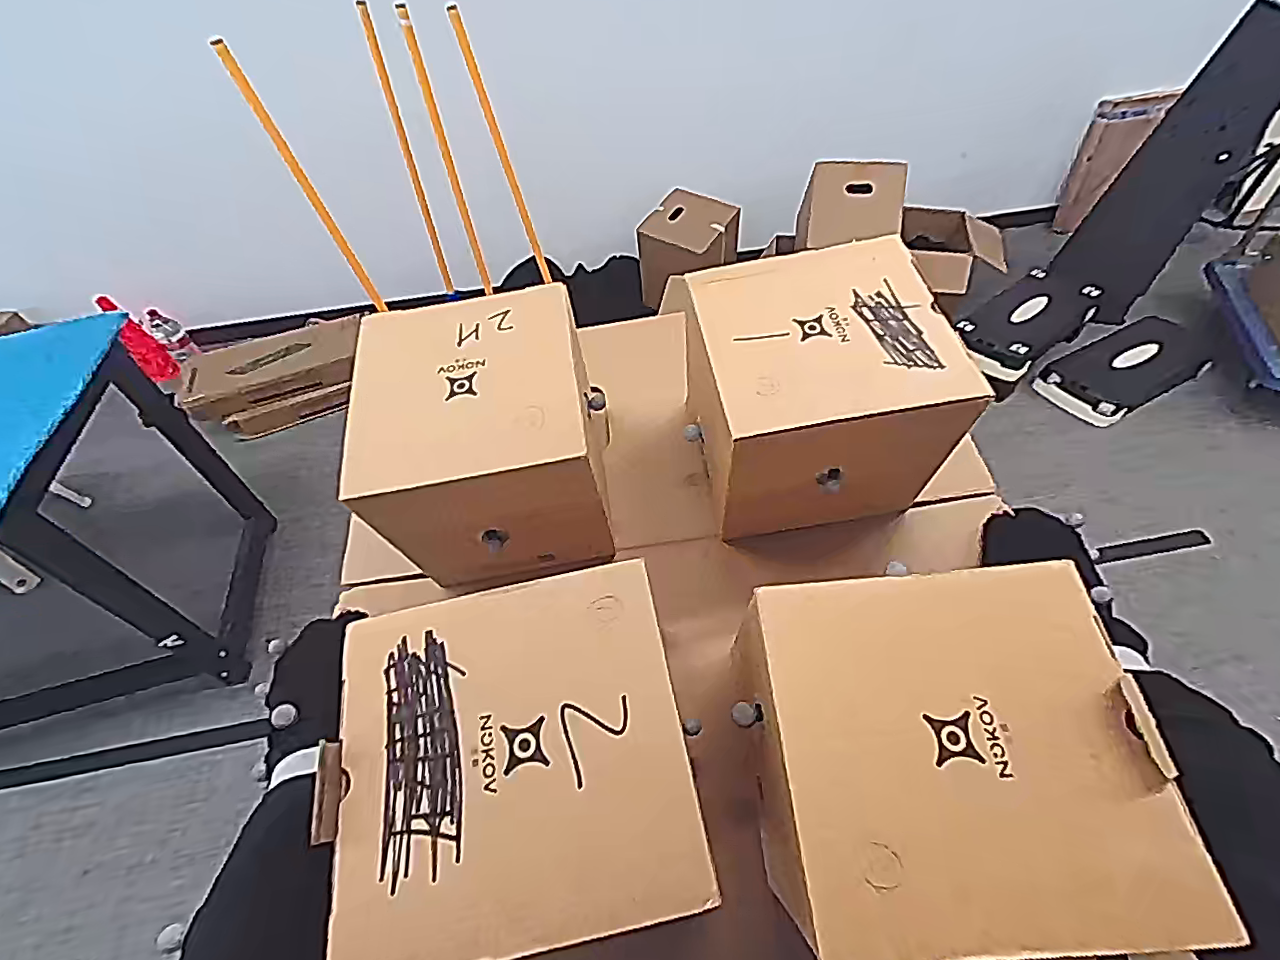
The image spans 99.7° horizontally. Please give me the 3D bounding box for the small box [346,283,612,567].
[{"bbox_3d":[-0.121,-0.035,0.470,0.168,0.176,0.179,-9,59,0],"label":"small box"}]

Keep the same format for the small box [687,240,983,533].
[{"bbox_3d":[0.139,-0.070,0.463,0.179,0.176,0.168,-10,60,1],"label":"small box"}]
